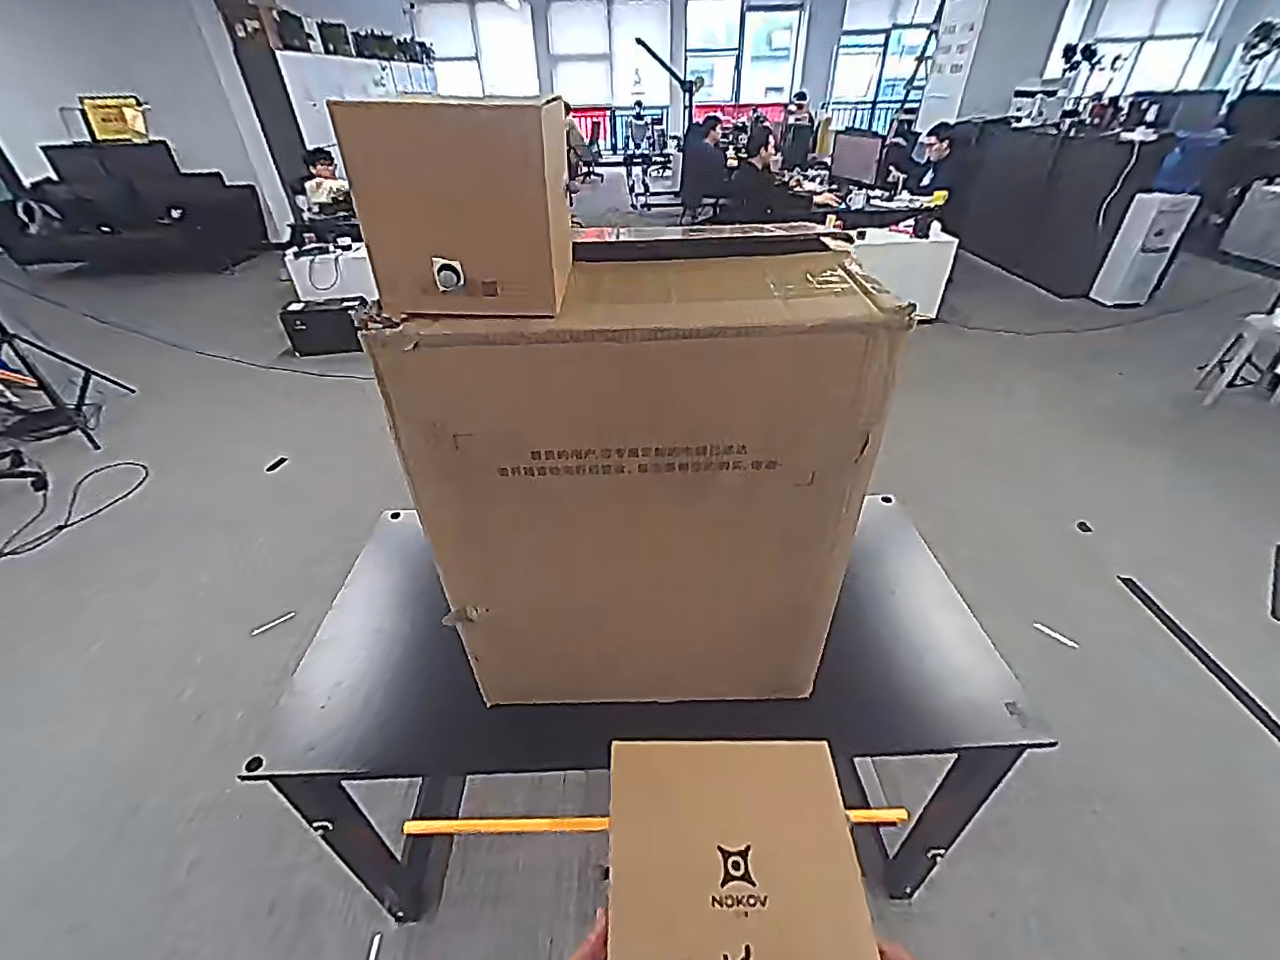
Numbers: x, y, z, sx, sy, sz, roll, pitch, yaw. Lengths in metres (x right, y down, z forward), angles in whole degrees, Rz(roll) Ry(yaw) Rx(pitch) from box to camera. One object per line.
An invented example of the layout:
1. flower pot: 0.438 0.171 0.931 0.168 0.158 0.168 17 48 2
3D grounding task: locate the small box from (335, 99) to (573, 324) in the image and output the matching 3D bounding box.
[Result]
1. small box: -0.157 -0.265 0.528 0.168 0.176 0.179 -1 38 -2

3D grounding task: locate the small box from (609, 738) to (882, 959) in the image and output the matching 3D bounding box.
1. small box: 0.061 0.316 0.405 0.168 0.176 0.179 0 45 -1
